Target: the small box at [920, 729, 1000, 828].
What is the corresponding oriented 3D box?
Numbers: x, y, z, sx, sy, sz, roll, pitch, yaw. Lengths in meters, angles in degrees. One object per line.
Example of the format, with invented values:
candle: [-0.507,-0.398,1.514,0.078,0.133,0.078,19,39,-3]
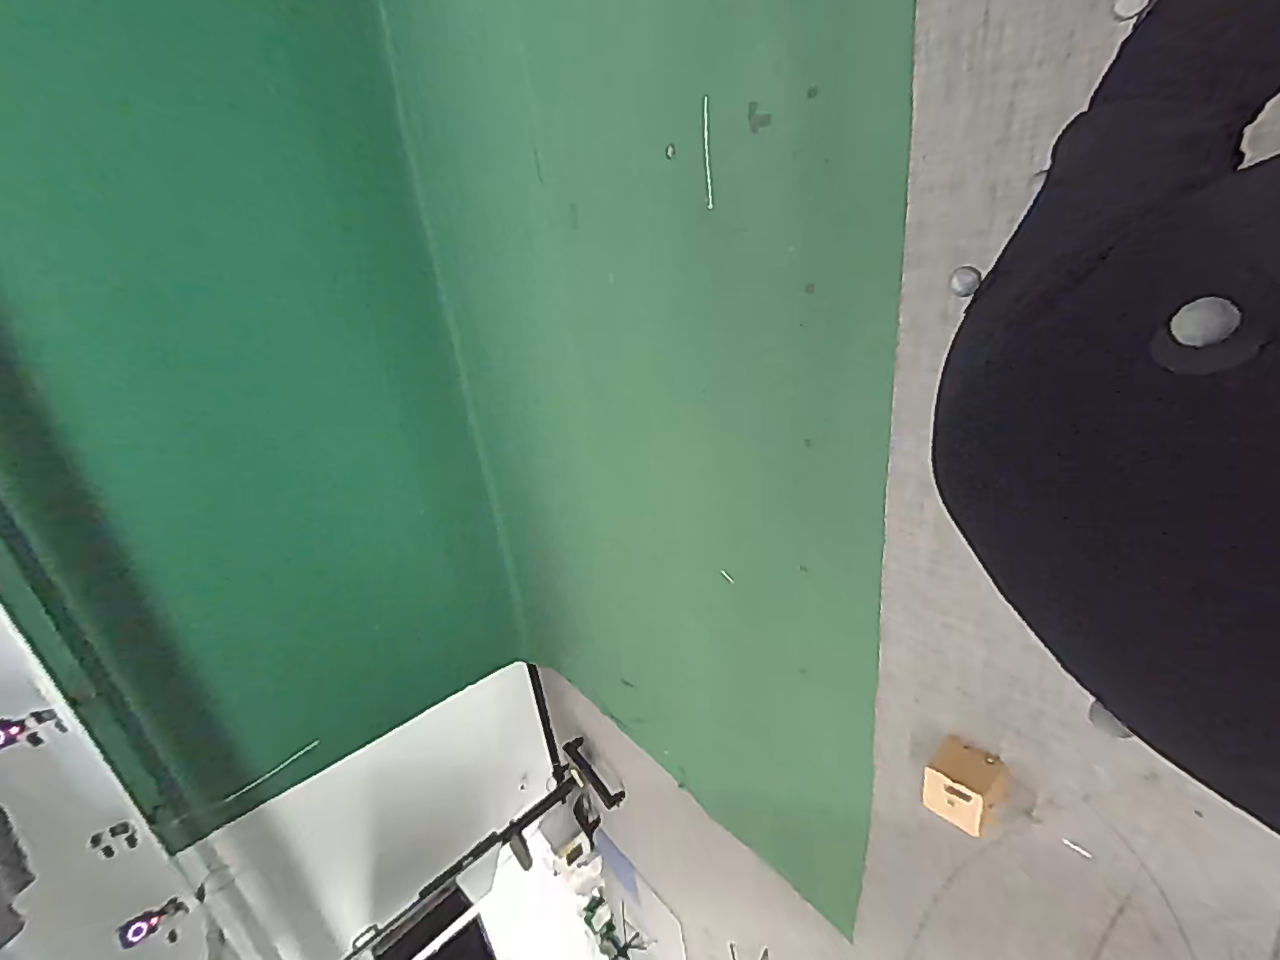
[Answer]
small box: [1.011,0.931,1.707,0.168,0.176,0.179,17,123,49]
